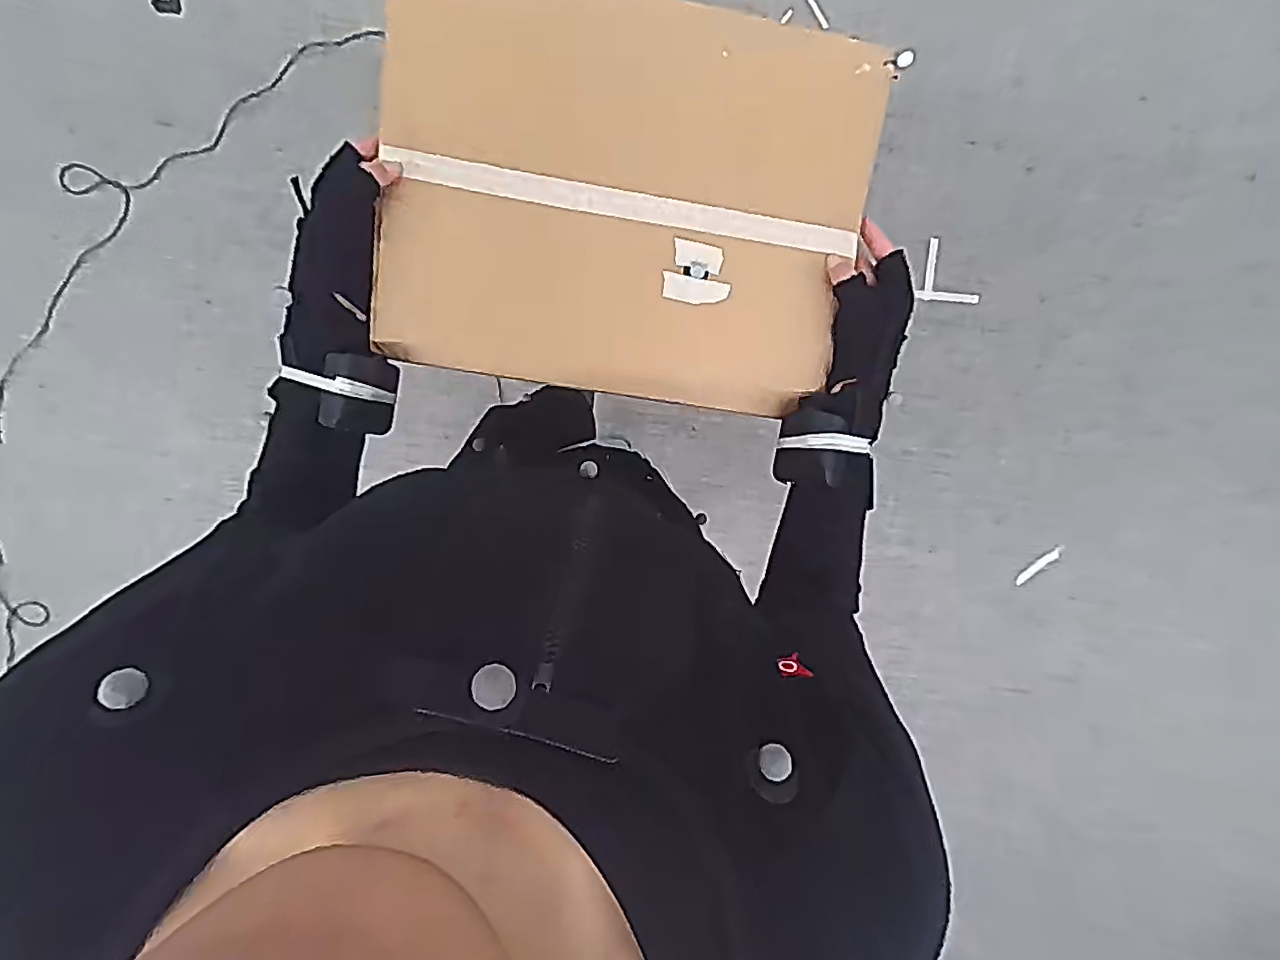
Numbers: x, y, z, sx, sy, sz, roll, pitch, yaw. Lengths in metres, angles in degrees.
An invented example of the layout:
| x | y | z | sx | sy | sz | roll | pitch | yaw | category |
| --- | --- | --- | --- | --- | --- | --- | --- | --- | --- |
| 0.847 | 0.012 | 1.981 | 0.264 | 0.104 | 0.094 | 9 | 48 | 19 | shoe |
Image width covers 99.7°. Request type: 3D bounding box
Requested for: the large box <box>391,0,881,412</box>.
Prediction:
| x | y | z | sx | sy | sz | roll | pitch | yaw | category |
| --- | --- | --- | --- | --- | --- | --- | --- | --- | --- |
| -0.021 | -0.265 | 0.616 | 0.408 | 0.320 | 0.320 | 7 | 102 | -6 | large box |
